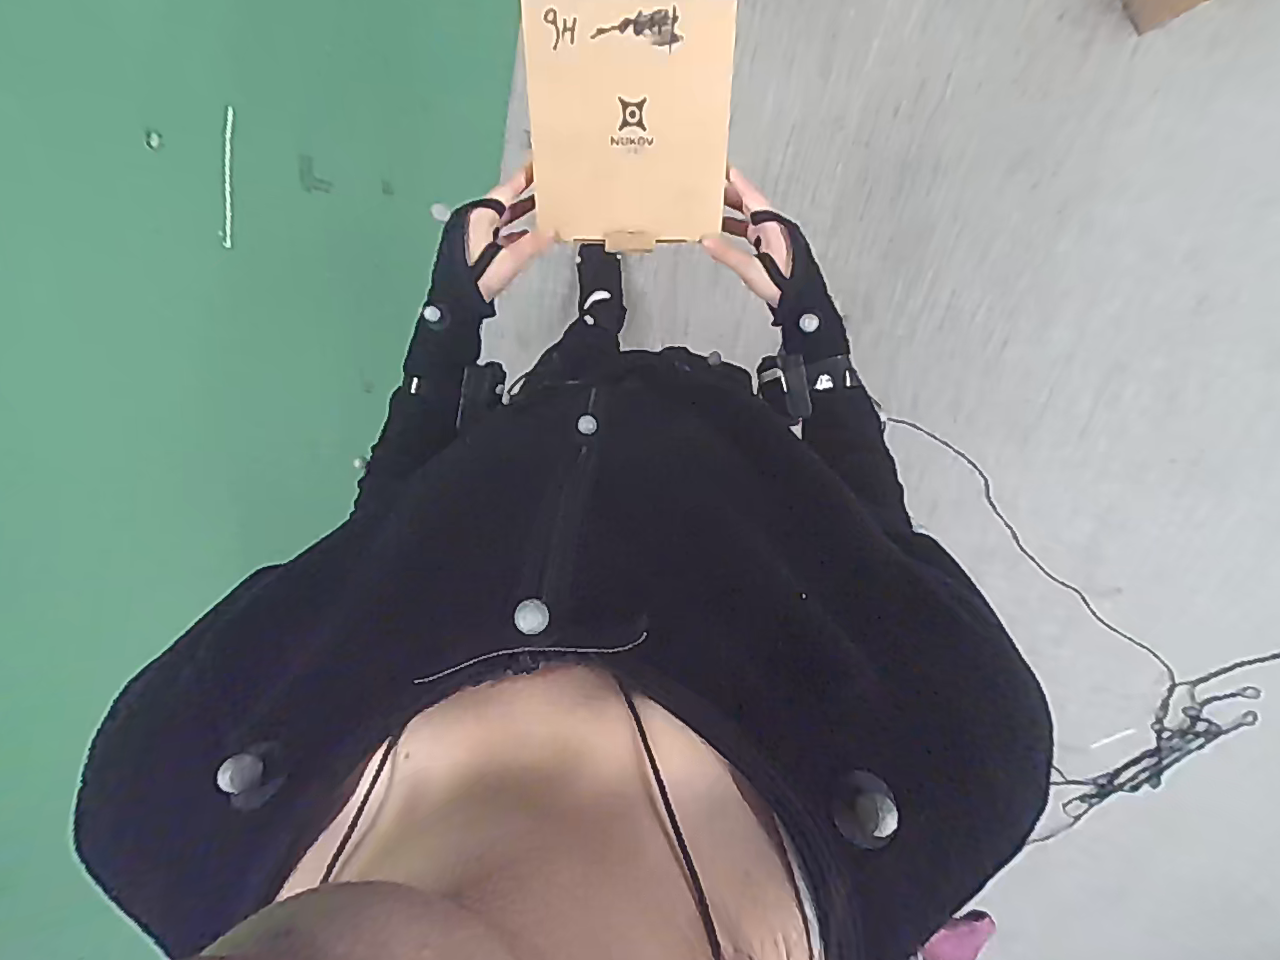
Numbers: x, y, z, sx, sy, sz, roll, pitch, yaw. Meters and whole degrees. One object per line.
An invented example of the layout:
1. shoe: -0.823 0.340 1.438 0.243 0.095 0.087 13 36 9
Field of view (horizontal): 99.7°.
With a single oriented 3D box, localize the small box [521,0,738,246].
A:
1. small box: -0.017 -0.325 0.509 0.168 0.176 0.179 -2 118 -6
